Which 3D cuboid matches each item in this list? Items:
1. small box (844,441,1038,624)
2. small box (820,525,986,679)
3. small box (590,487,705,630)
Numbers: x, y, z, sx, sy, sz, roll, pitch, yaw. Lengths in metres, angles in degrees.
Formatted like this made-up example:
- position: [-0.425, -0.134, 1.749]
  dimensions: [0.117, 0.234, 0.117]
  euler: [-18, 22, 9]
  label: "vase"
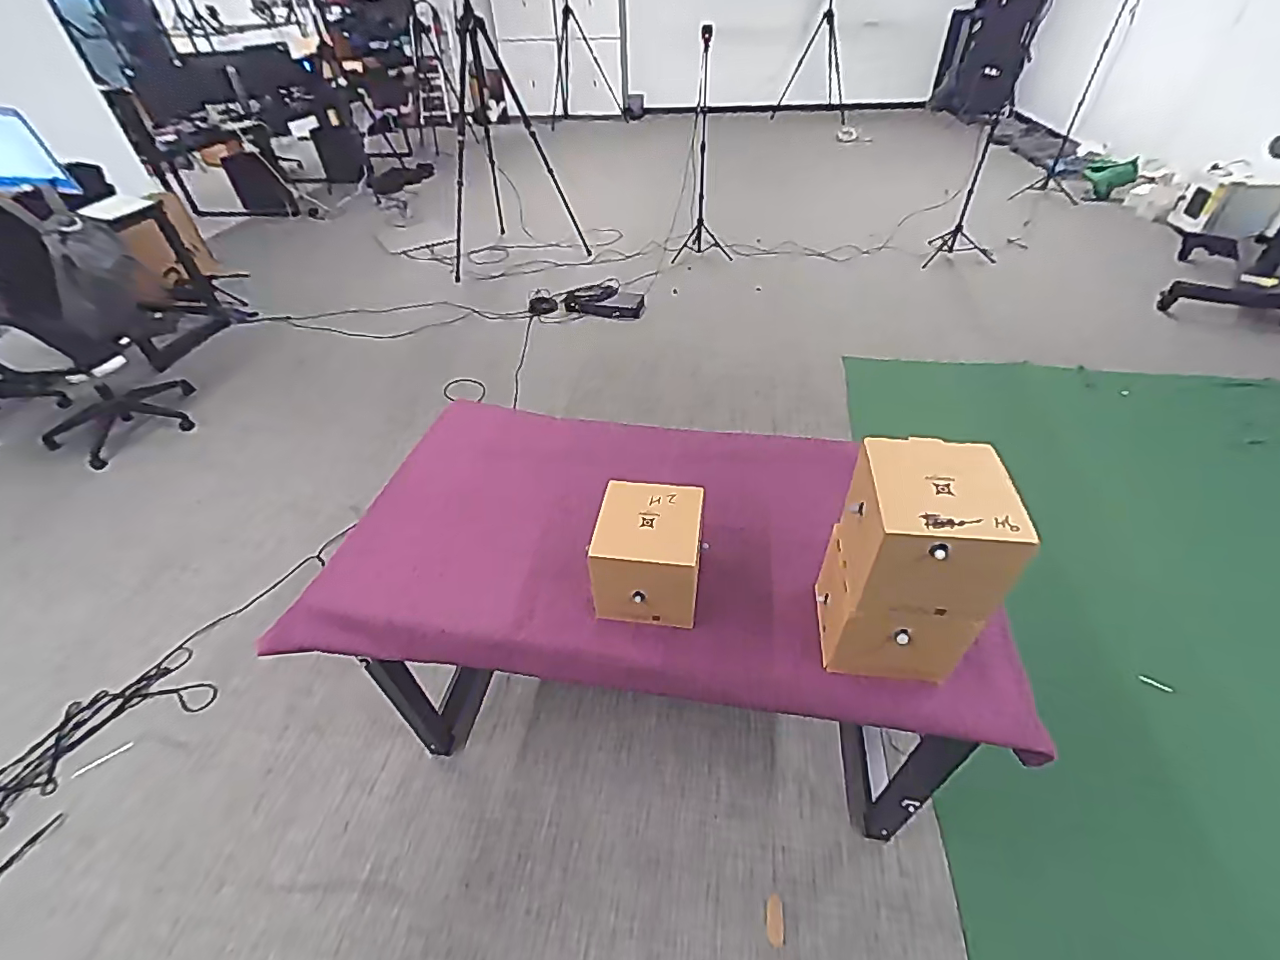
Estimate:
- position: [0.378, 0.067, 0.722]
  dimensions: [0.168, 0.176, 0.179]
  euler: [2, 43, 10]
  label: "small box"
- position: [0.387, 0.189, 0.832]
  dimensions: [0.179, 0.176, 0.168]
  euler: [2, 43, 9]
  label: "small box"
- position: [0.022, 0.134, 0.923]
  dimensions: [0.168, 0.176, 0.179]
  euler: [4, 42, 9]
  label: "small box"
